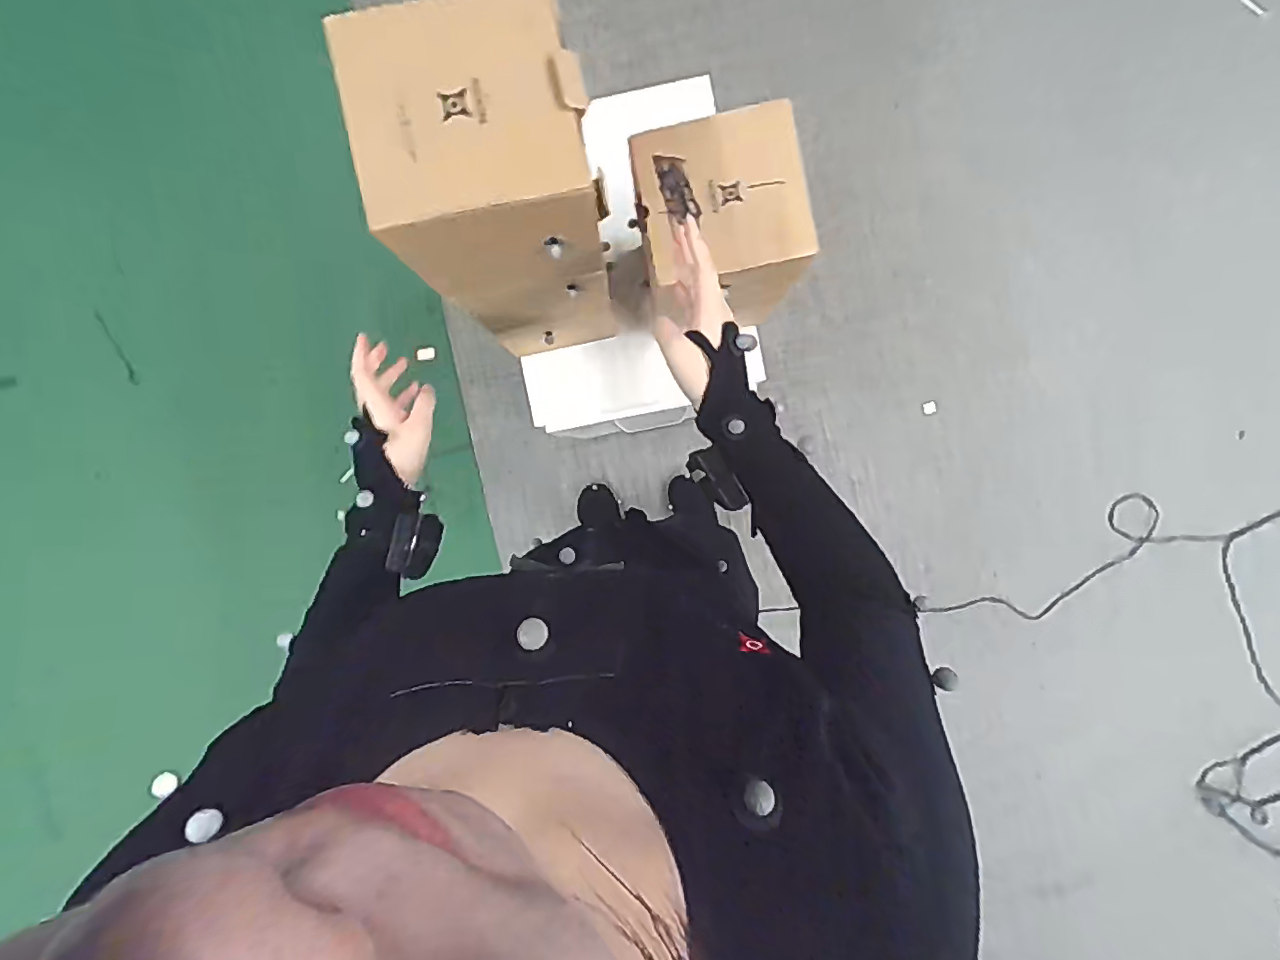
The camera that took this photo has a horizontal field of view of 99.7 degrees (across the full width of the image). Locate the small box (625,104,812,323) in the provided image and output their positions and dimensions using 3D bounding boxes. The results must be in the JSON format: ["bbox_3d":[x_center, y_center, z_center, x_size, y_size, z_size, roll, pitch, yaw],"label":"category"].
[{"bbox_3d":[0.086,-0.303,0.654,0.179,0.176,0.168,-11,91,1],"label":"small box"}]

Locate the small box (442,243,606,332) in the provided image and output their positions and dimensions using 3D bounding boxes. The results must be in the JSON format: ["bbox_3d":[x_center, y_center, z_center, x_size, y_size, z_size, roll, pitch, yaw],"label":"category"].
[{"bbox_3d":[-0.141,-0.291,0.657,0.179,0.176,0.168,-11,91,-2],"label":"small box"}]

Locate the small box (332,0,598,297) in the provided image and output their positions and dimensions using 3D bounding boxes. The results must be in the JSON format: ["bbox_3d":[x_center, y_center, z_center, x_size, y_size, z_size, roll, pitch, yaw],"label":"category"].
[{"bbox_3d":[-0.137,-0.287,0.495,0.179,0.176,0.168,-12,90,-1],"label":"small box"}]

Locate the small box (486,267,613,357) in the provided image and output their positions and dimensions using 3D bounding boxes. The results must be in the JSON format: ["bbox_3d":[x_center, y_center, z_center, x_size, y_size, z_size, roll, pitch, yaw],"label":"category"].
[{"bbox_3d":[-0.143,-0.297,0.821,0.179,0.176,0.168,-12,91,-1],"label":"small box"}]
